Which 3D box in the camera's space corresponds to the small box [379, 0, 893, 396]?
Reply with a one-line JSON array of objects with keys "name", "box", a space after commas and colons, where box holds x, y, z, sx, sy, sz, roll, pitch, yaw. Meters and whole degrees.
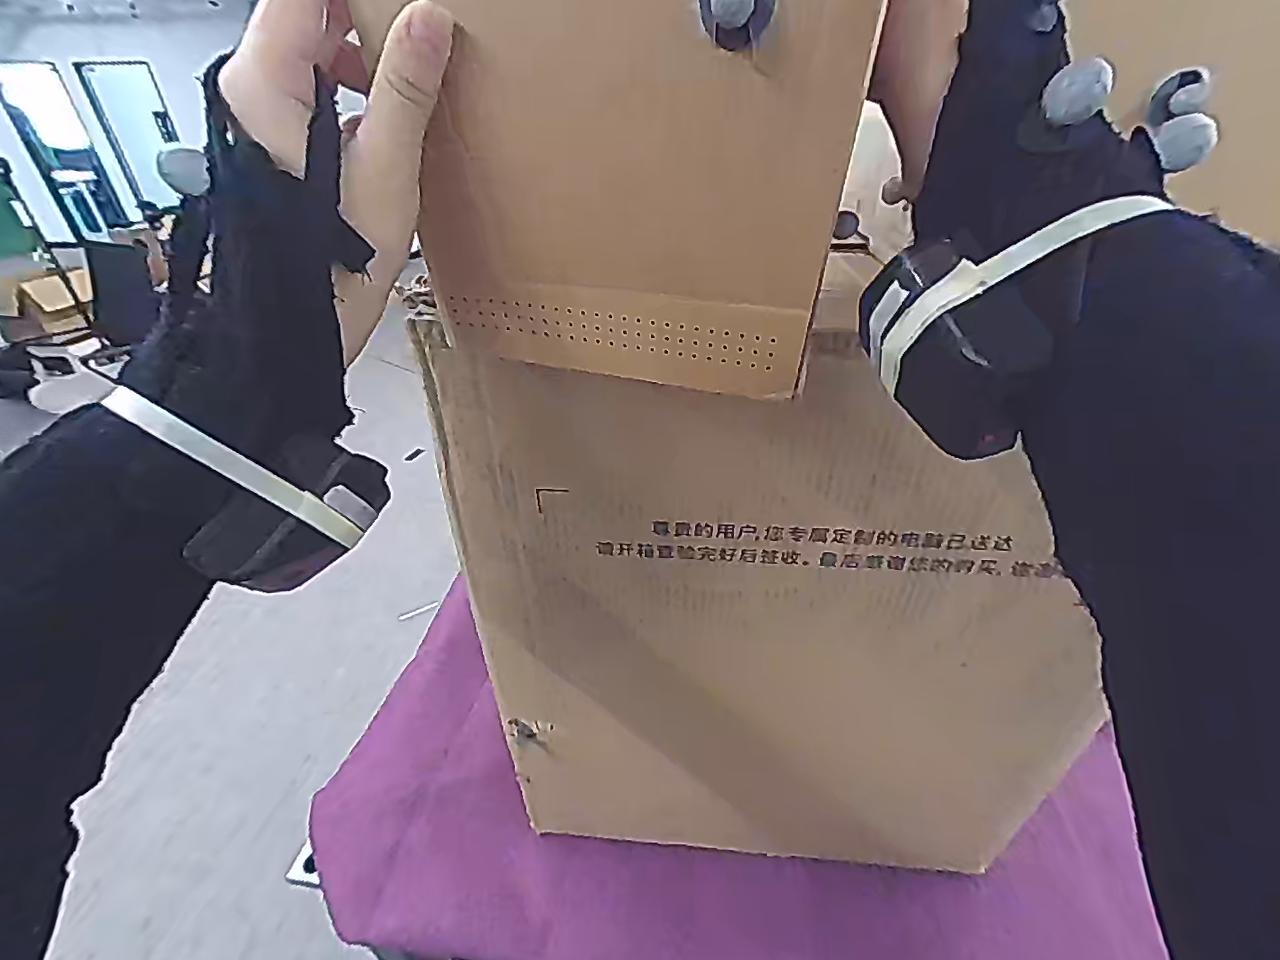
[{"name": "small box", "box": [0.008, -0.158, 0.254, 0.179, 0.176, 0.168, 11, 46, 11]}]
